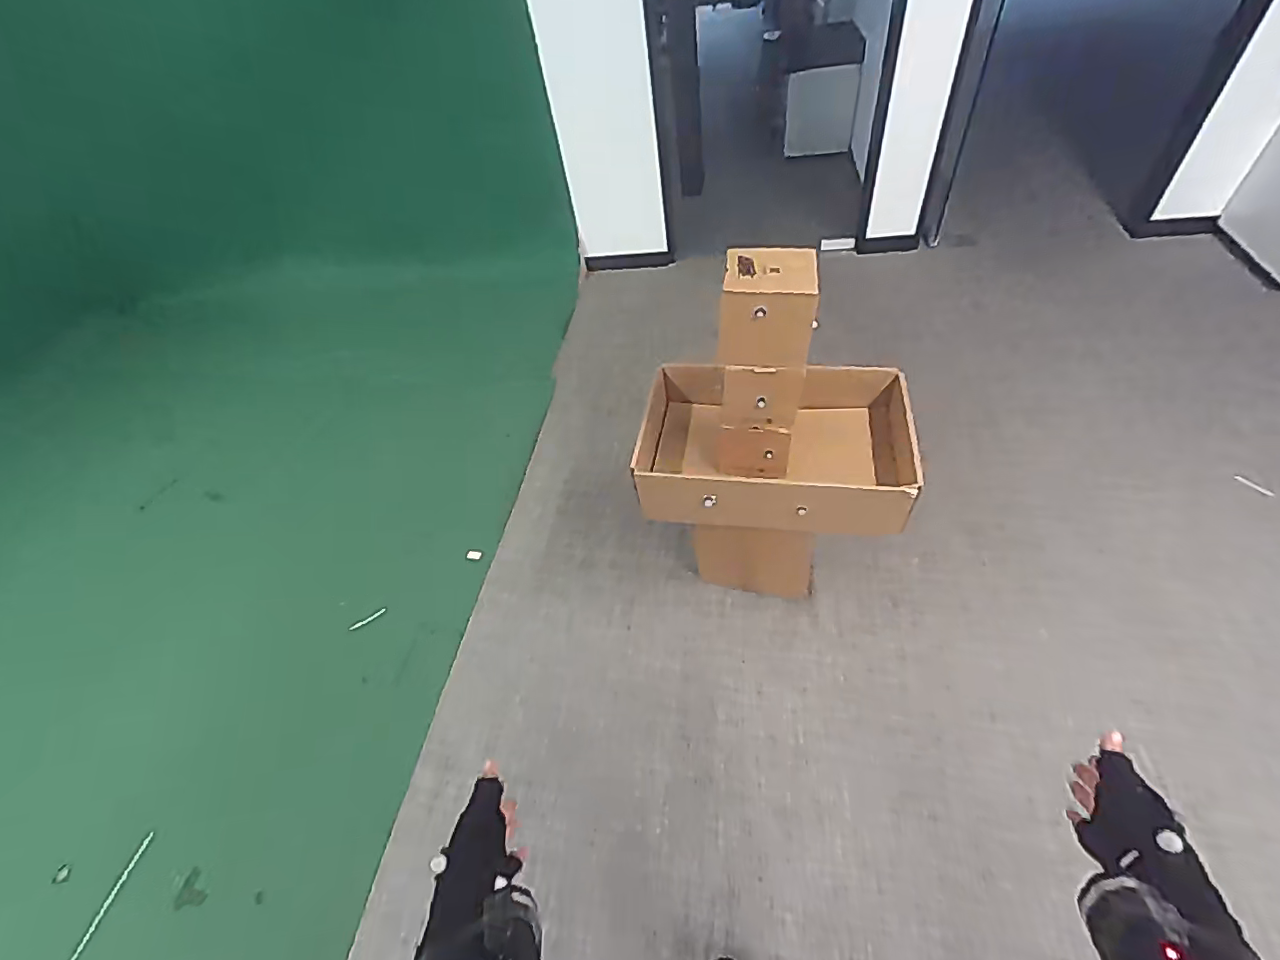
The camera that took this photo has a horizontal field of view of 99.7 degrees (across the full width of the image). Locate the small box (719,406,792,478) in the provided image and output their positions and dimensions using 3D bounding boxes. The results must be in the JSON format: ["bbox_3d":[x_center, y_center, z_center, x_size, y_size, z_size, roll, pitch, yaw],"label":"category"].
[{"bbox_3d":[0.286,-0.124,1.339,0.168,0.176,0.179,5,49,10],"label":"small box"}]

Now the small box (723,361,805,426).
[{"bbox_3d":[0.275,-0.236,1.220,0.168,0.176,0.179,3,51,9],"label":"small box"}]

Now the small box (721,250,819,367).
[{"bbox_3d":[0.258,-0.346,1.097,0.179,0.176,0.168,5,50,10],"label":"small box"}]
